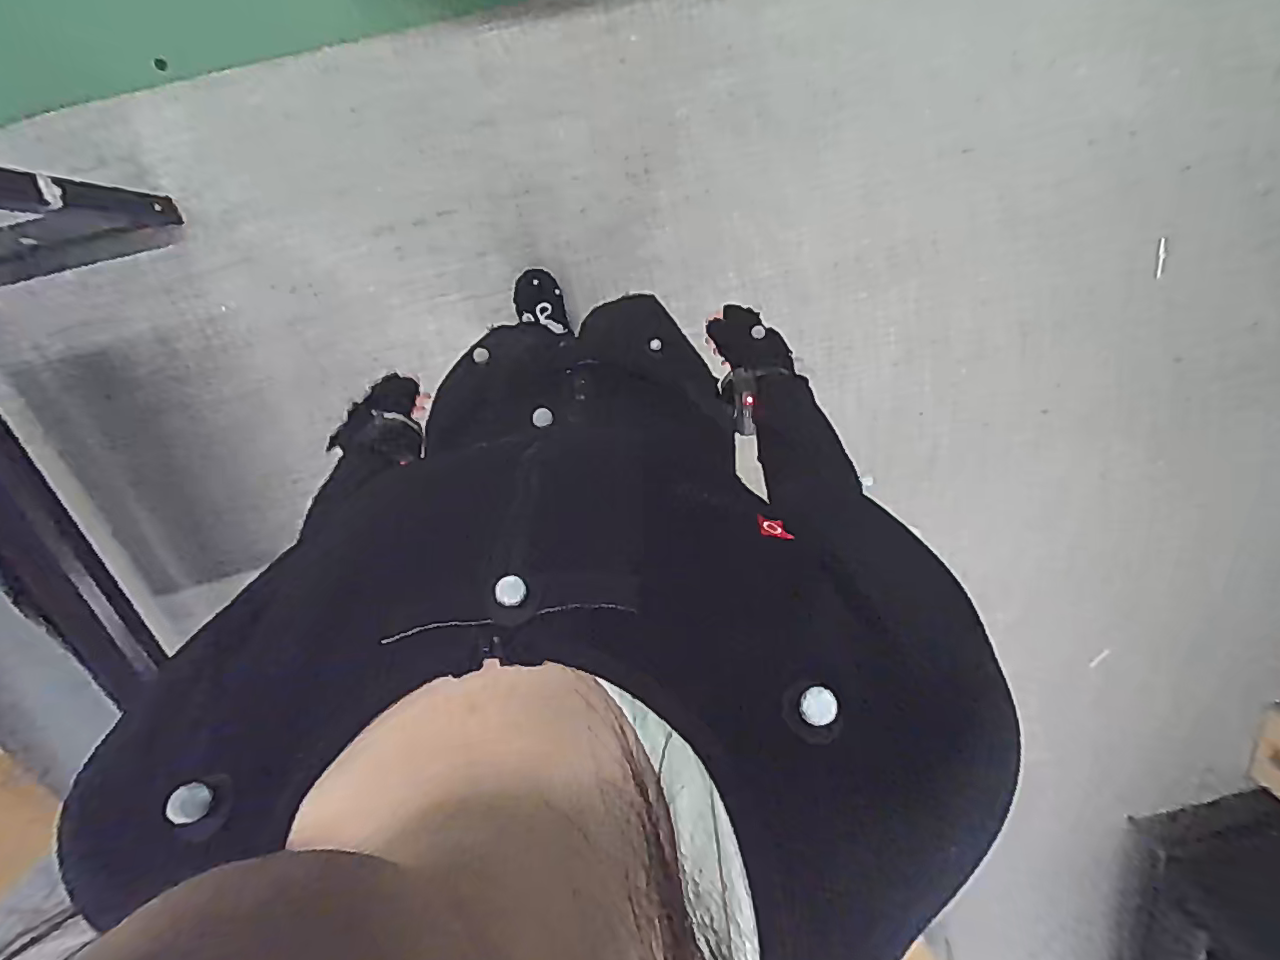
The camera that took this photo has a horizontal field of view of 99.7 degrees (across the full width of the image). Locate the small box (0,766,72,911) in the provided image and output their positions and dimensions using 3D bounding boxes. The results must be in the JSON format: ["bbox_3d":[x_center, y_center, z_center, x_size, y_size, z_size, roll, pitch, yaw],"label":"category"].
[{"bbox_3d":[-0.986,0.529,0.752,0.168,0.176,0.179,-20,112,0],"label":"small box"}]
